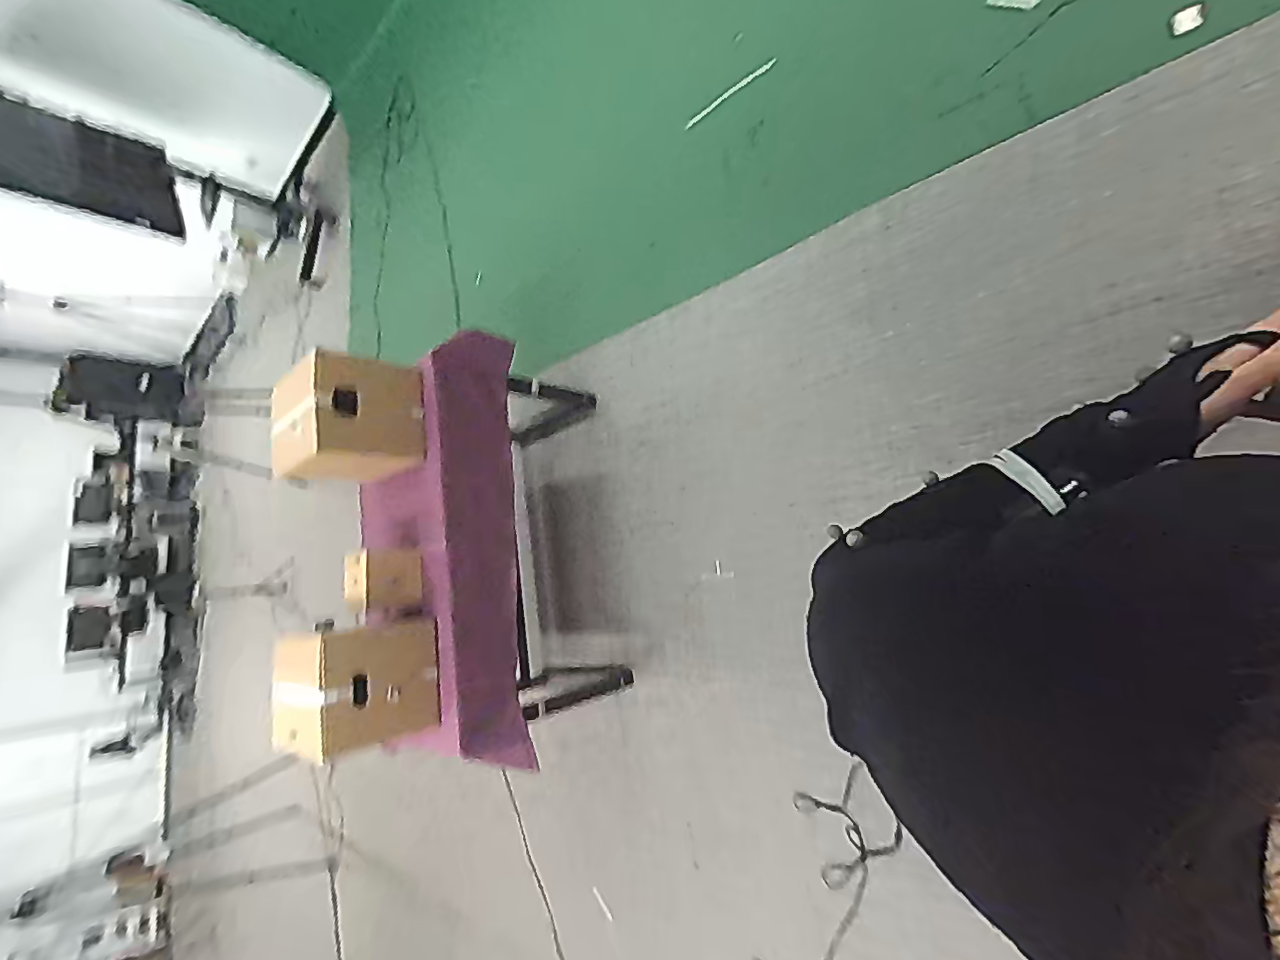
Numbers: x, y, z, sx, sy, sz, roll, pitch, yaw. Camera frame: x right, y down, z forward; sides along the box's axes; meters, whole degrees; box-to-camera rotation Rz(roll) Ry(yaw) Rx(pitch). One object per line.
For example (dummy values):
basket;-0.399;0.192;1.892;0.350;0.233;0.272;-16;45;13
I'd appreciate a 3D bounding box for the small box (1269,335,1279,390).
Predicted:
small box;0.497;-0.121;0.284;0.168;0.176;0.179;32;111;39

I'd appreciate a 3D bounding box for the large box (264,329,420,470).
large box;-0.946;-0.227;1.712;0.408;0.320;0.320;-13;79;39
